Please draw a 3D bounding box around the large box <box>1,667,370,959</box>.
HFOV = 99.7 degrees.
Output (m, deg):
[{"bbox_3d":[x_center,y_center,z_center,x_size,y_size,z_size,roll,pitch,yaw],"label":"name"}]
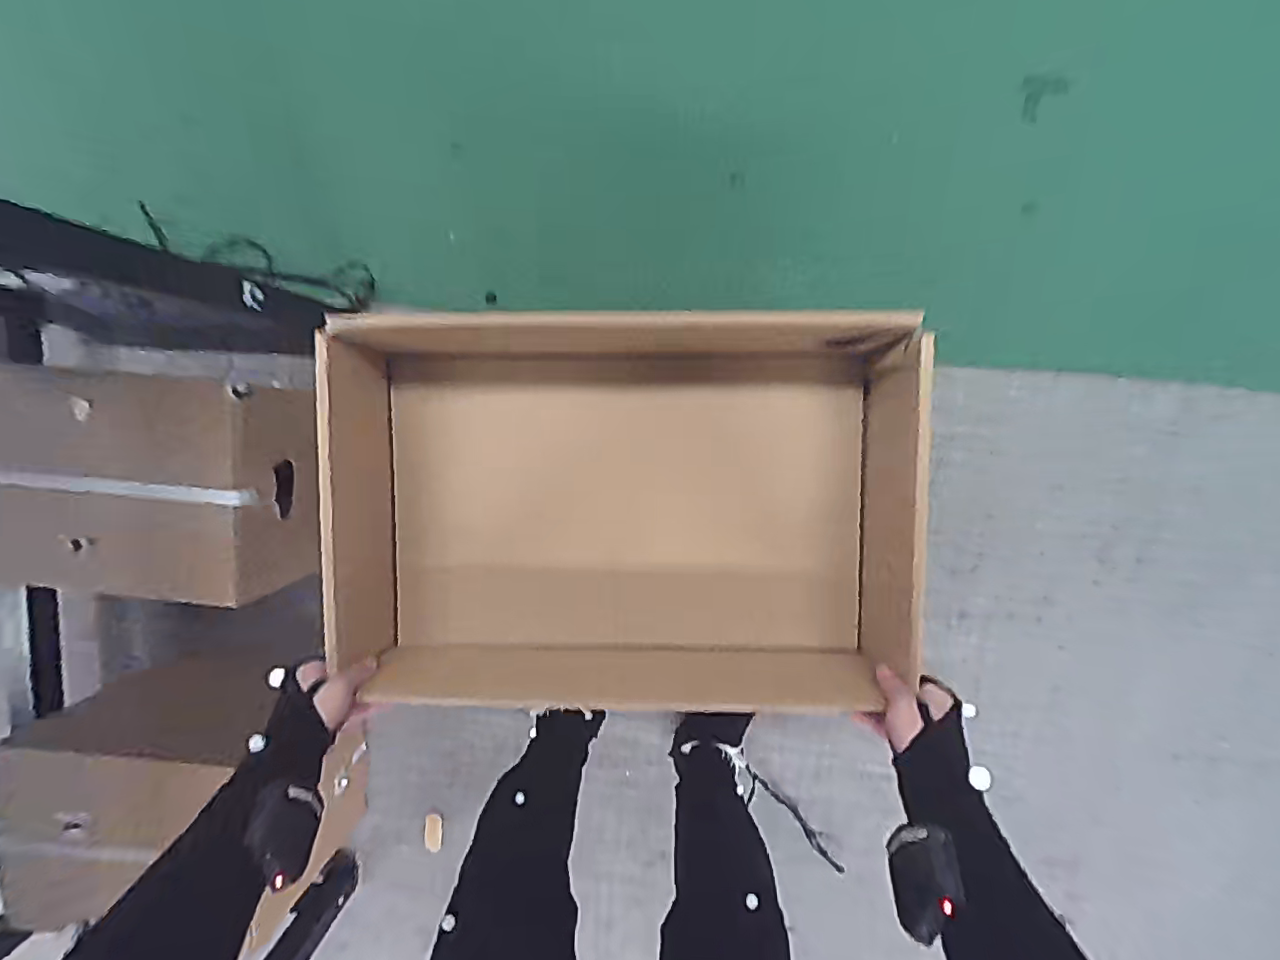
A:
[{"bbox_3d":[-0.755,0.552,0.961,0.408,0.320,0.320,3,95,4],"label":"large box"}]
